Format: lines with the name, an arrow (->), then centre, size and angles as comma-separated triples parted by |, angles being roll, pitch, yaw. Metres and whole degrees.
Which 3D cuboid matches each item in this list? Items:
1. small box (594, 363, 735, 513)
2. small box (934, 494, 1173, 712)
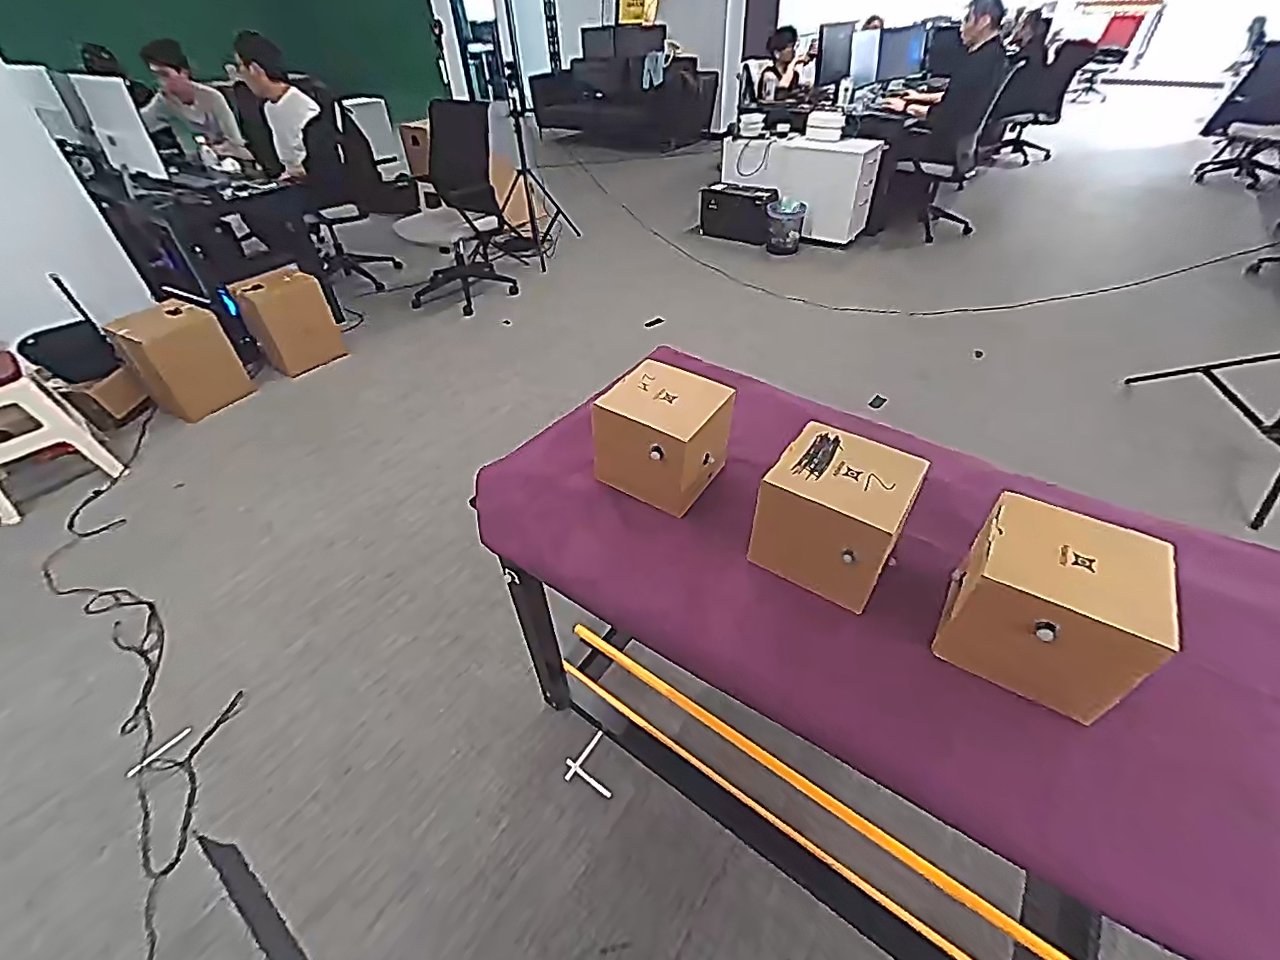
small box -> 0.041, -0.069, 0.928 | 0.179, 0.176, 0.168 | 25, 48, 24
small box -> 0.495, 0.153, 0.664 | 0.179, 0.176, 0.168 | 22, 47, 27
